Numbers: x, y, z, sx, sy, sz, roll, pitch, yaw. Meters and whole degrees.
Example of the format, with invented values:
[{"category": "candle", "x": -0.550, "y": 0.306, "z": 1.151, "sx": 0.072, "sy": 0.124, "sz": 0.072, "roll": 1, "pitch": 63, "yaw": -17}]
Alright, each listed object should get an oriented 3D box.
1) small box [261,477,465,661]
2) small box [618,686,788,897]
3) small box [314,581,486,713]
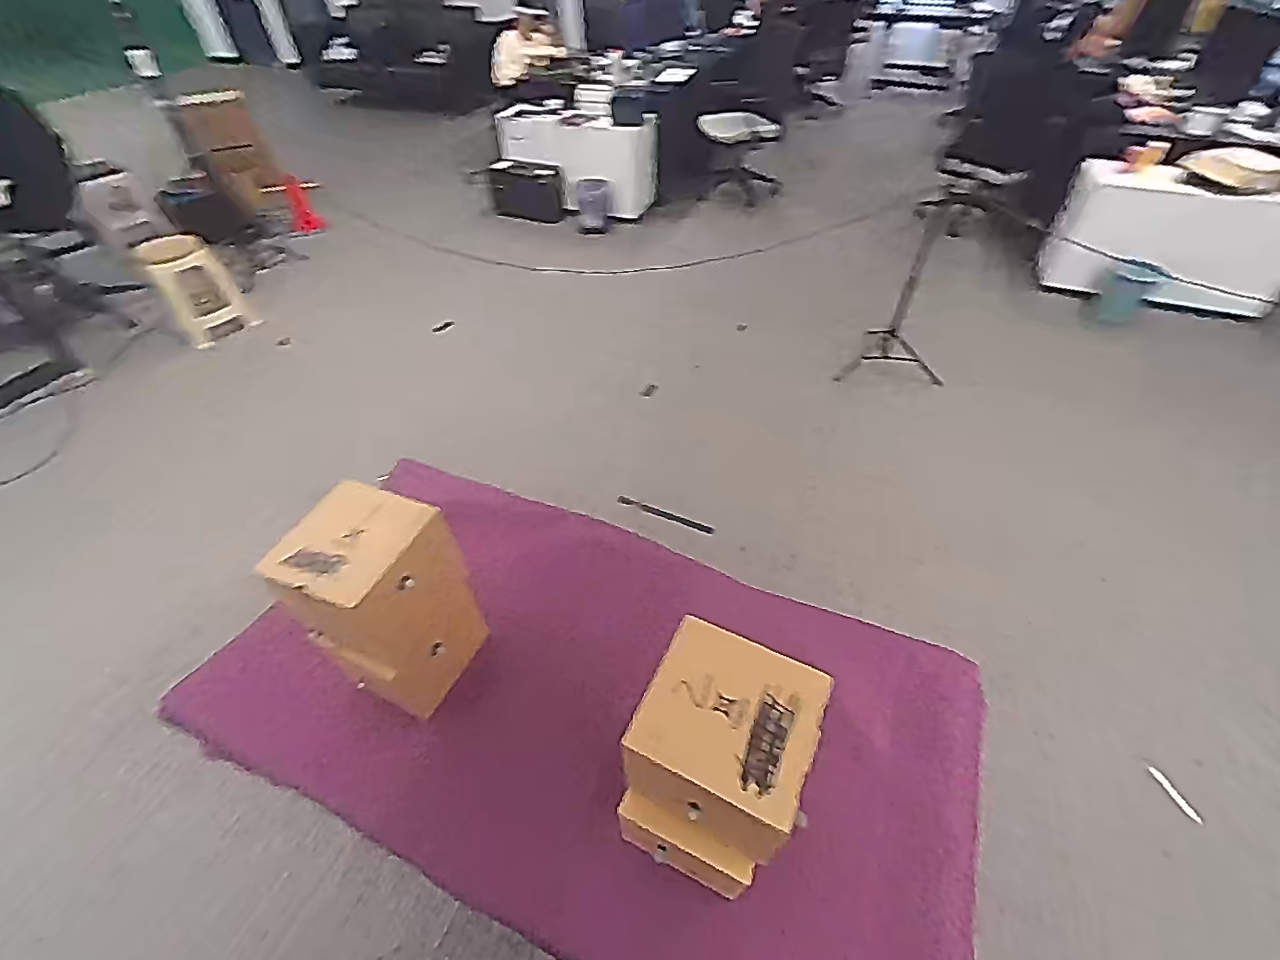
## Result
[{"category": "small box", "x": -0.379, "y": 0.131, "z": 0.781, "sx": 0.168, "sy": 0.176, "sz": 0.179, "roll": 17, "pitch": 49, "yaw": 15}, {"category": "small box", "x": 0.085, "y": 0.423, "z": 0.732, "sx": 0.168, "sy": 0.176, "sz": 0.179, "roll": 19, "pitch": 50, "yaw": 18}, {"category": "small box", "x": -0.379, "y": 0.251, "z": 0.894, "sx": 0.168, "sy": 0.176, "sz": 0.179, "roll": 20, "pitch": 51, "yaw": 18}]
